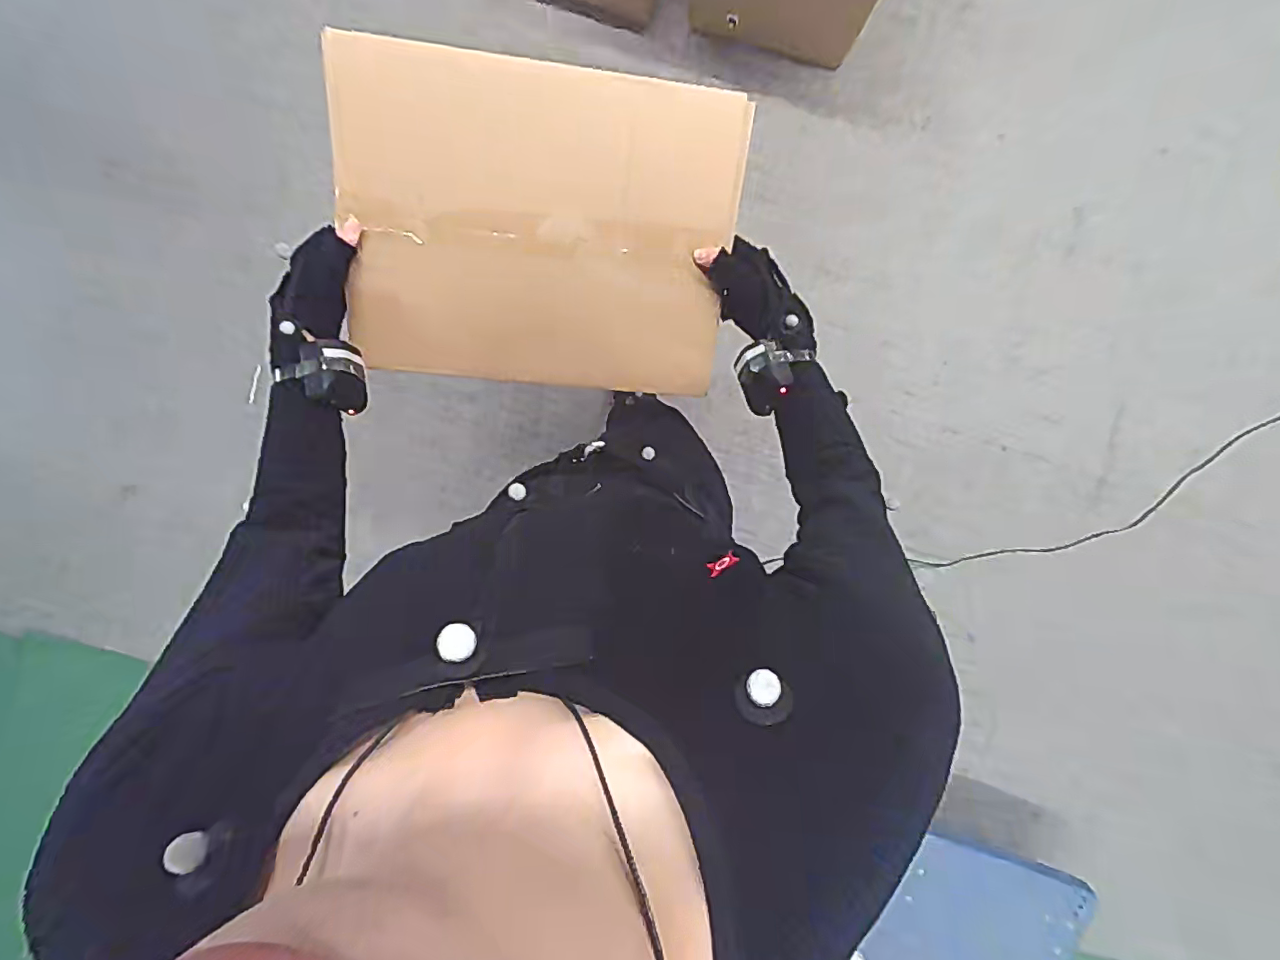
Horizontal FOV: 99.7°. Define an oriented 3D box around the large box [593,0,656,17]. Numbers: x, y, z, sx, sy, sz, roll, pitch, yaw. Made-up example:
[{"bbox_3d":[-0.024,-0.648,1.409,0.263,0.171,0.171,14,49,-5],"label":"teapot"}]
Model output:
[{"bbox_3d":[-0.123,-1.341,1.193,0.408,0.320,0.320,19,96,1],"label":"large box"}]
